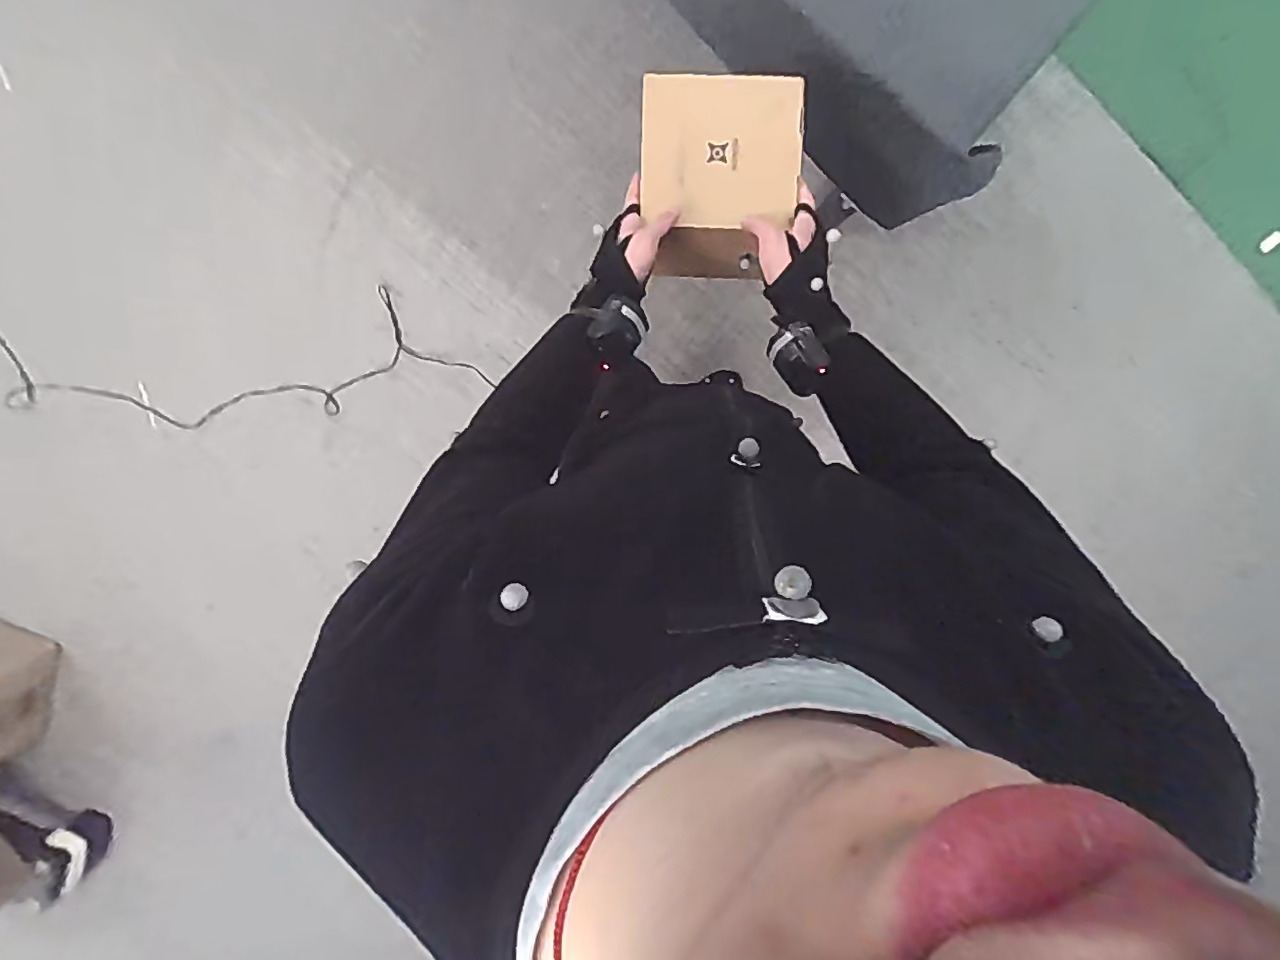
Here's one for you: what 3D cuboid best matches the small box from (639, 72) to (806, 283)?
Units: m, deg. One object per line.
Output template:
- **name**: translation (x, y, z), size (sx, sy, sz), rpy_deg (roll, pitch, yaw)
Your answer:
- **small box**: translation (0.088, -0.347, 0.650), size (0.179, 0.176, 0.168), rpy_deg (-1, 91, 1)
